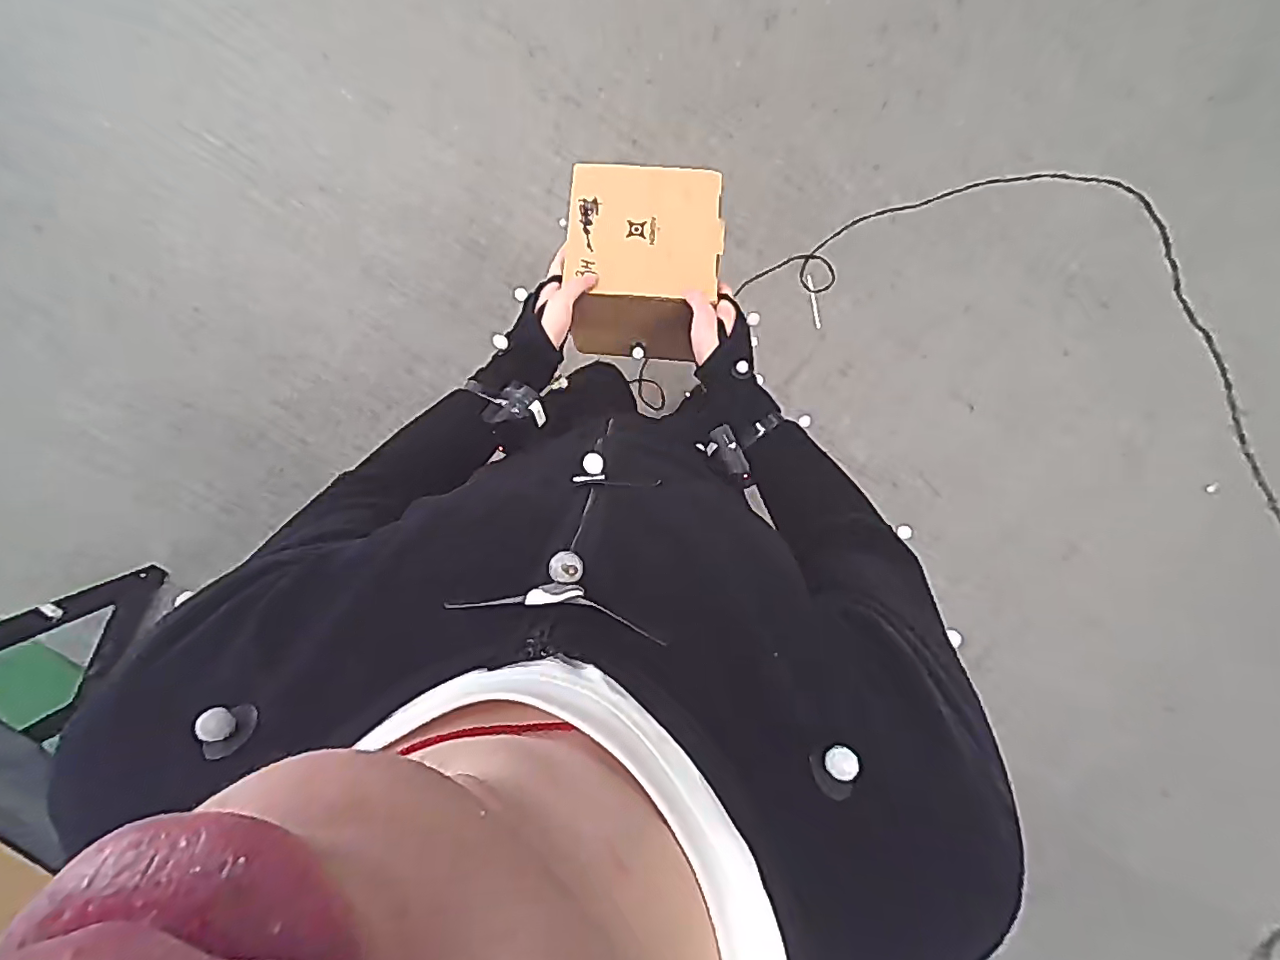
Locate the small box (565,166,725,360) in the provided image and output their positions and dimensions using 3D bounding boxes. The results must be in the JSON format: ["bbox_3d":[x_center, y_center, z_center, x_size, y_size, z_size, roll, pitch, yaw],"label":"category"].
[{"bbox_3d":[0.007,-0.265,0.695,0.179,0.176,0.168,3,79,0],"label":"small box"}]
